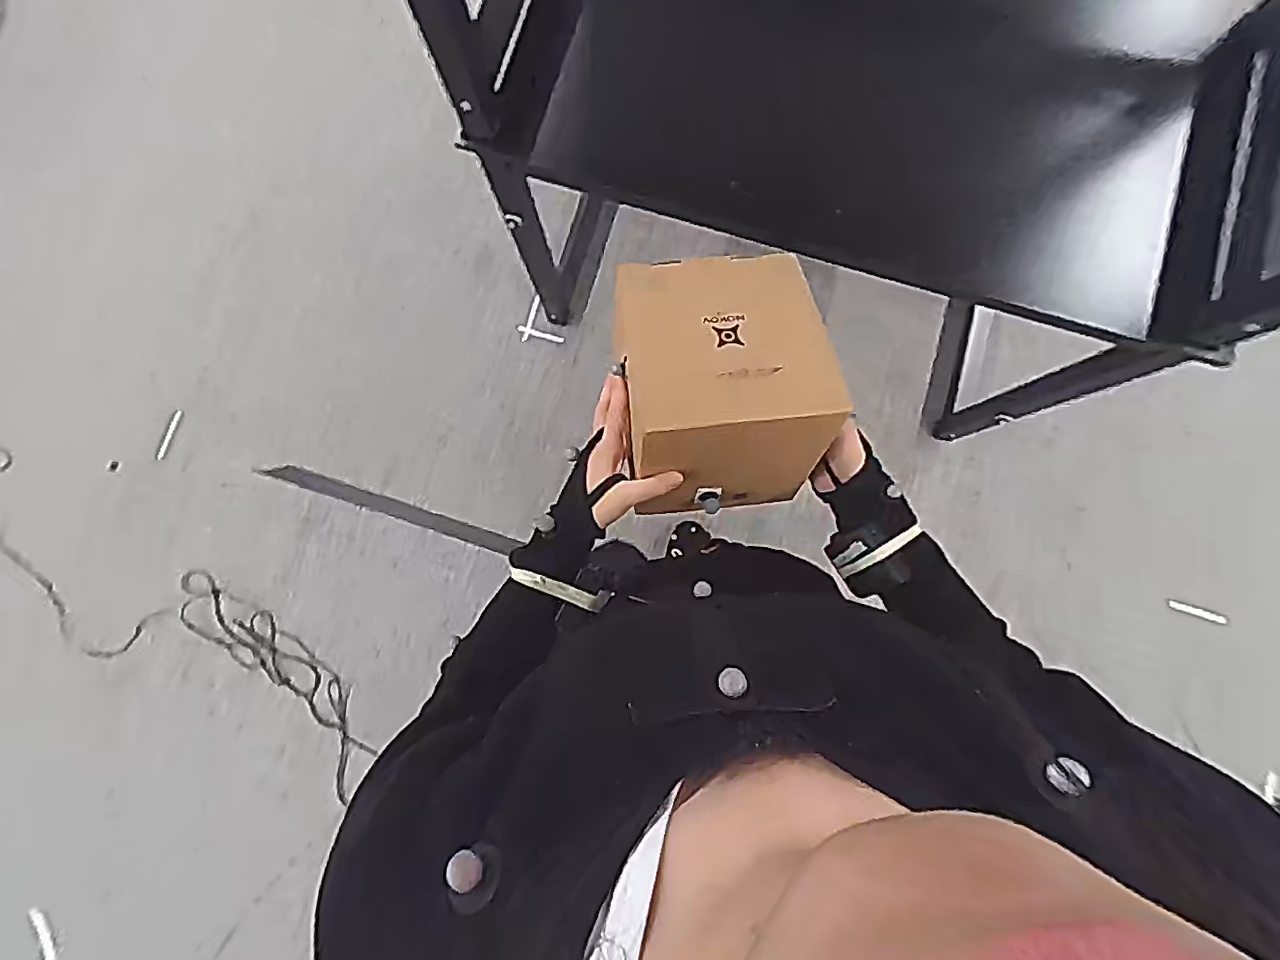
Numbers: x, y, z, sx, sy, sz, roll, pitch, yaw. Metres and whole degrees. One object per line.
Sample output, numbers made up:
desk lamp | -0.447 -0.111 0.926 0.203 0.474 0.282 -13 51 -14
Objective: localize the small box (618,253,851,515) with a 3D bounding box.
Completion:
small box | 0.069 -0.085 0.520 0.168 0.176 0.179 -8 64 -5
